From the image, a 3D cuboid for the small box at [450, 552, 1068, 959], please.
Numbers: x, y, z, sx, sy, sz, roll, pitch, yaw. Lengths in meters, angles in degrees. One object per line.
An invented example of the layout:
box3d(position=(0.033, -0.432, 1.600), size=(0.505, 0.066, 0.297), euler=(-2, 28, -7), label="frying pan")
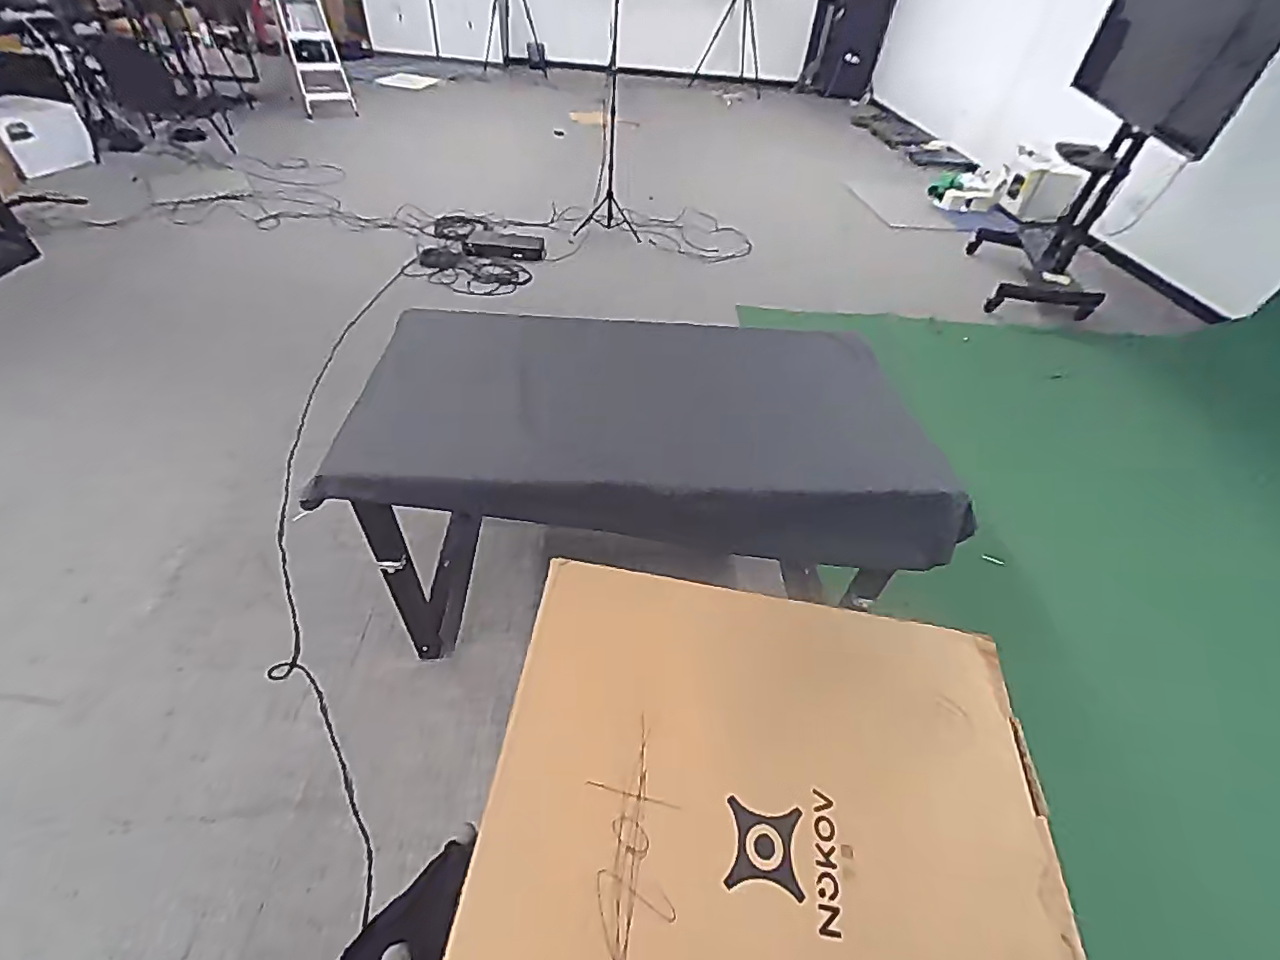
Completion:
box3d(position=(0.033, 0.155, 0.233), size=(0.179, 0.176, 0.168), euler=(9, 50, 1), label="small box")
